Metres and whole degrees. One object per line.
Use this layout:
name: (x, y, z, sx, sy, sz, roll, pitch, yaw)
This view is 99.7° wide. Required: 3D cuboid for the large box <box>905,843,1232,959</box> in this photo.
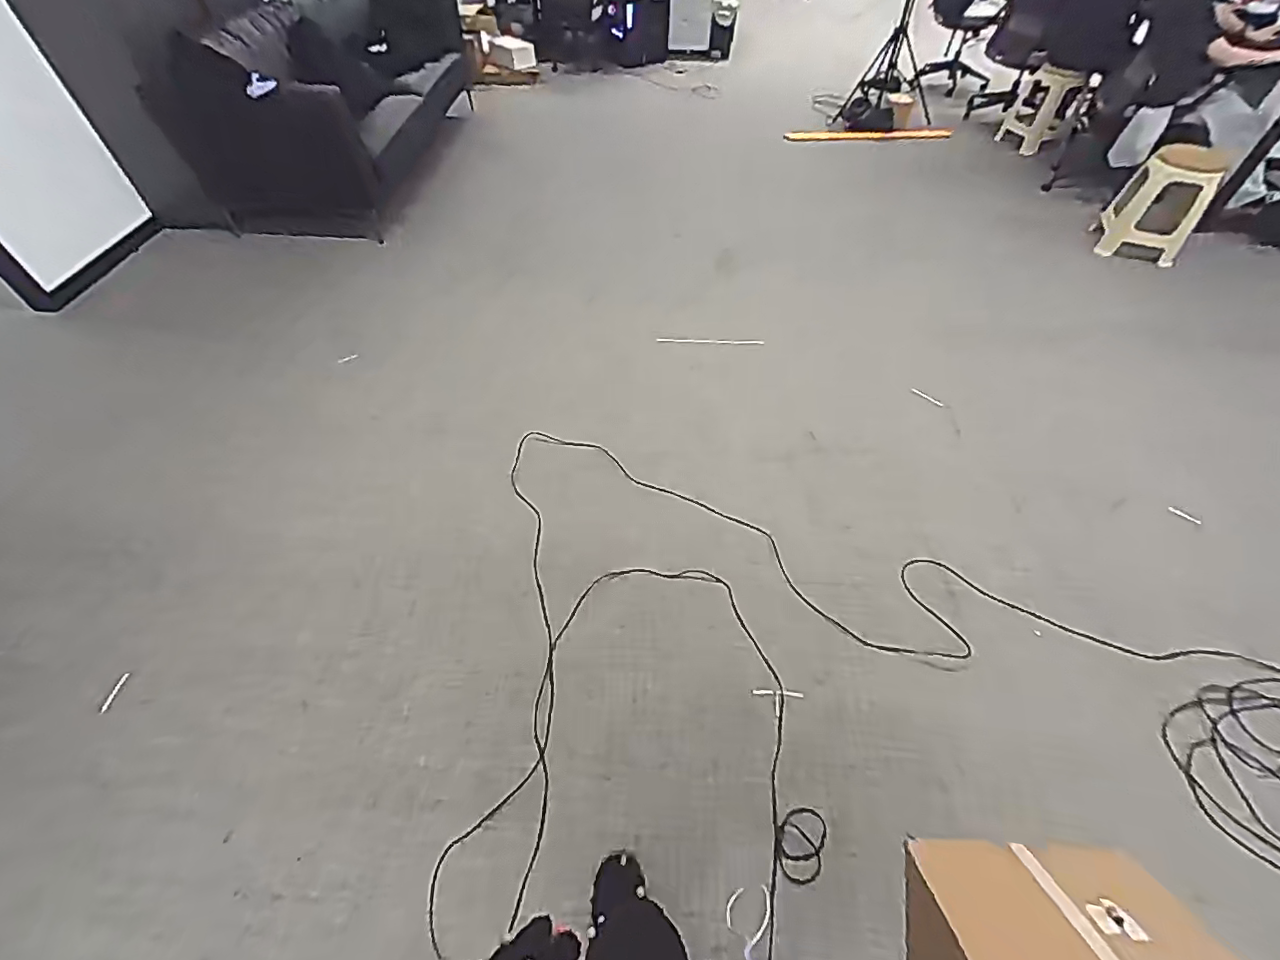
large box: (0.549, 0.719, 0.629, 0.320, 0.408, 0.320, -1, 93, 6)
